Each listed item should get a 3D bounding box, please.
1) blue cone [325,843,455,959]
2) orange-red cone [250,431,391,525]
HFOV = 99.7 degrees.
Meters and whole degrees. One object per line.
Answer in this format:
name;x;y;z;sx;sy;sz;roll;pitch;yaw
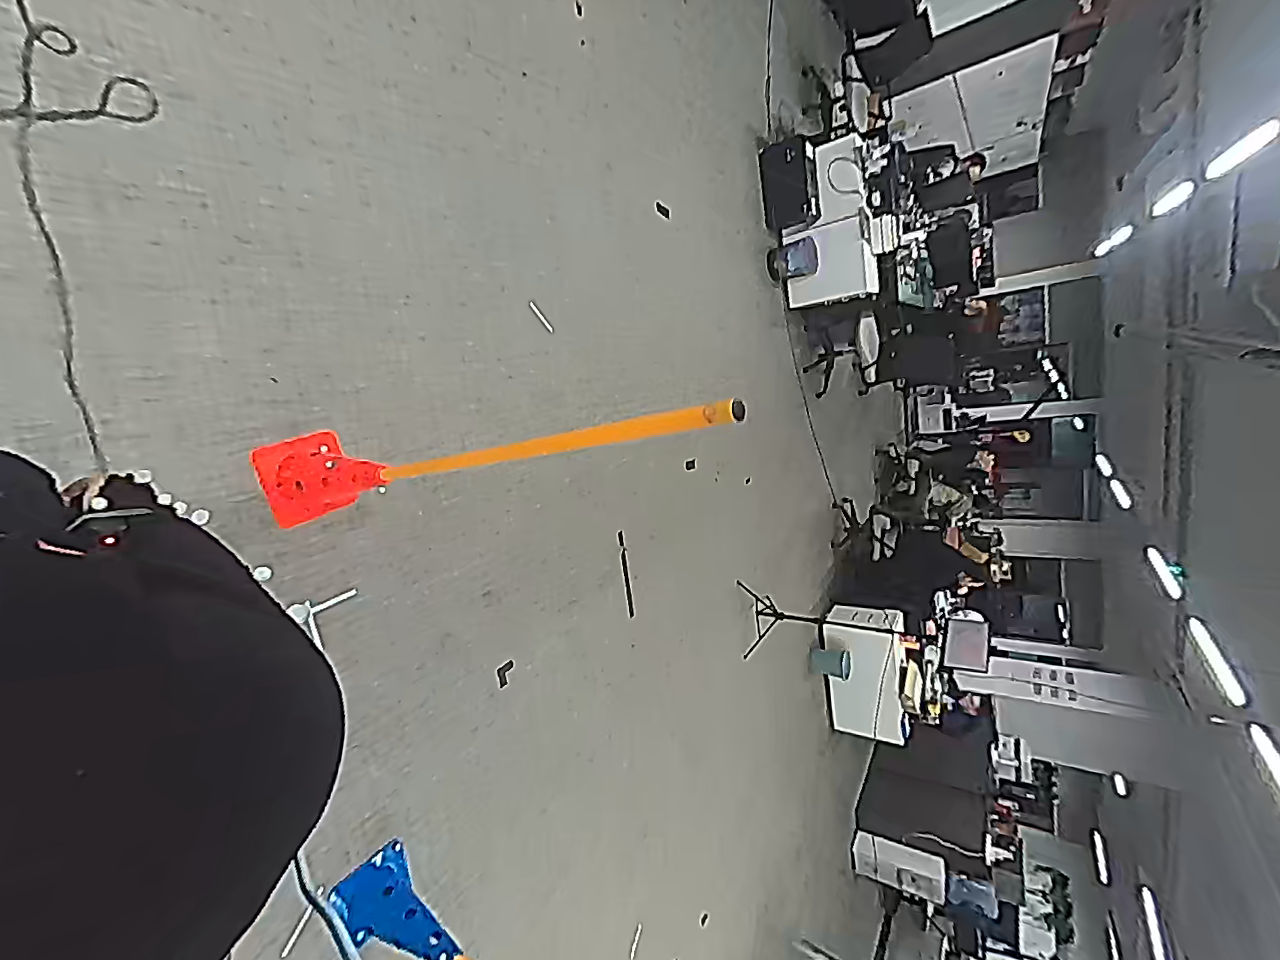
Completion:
blue cone;-0.581;1.090;1.324;0.193;0.380;0.192;-19;103;-54
orange-red cone;-0.673;-0.012;1.212;0.199;0.360;0.198;-30;112;-50
